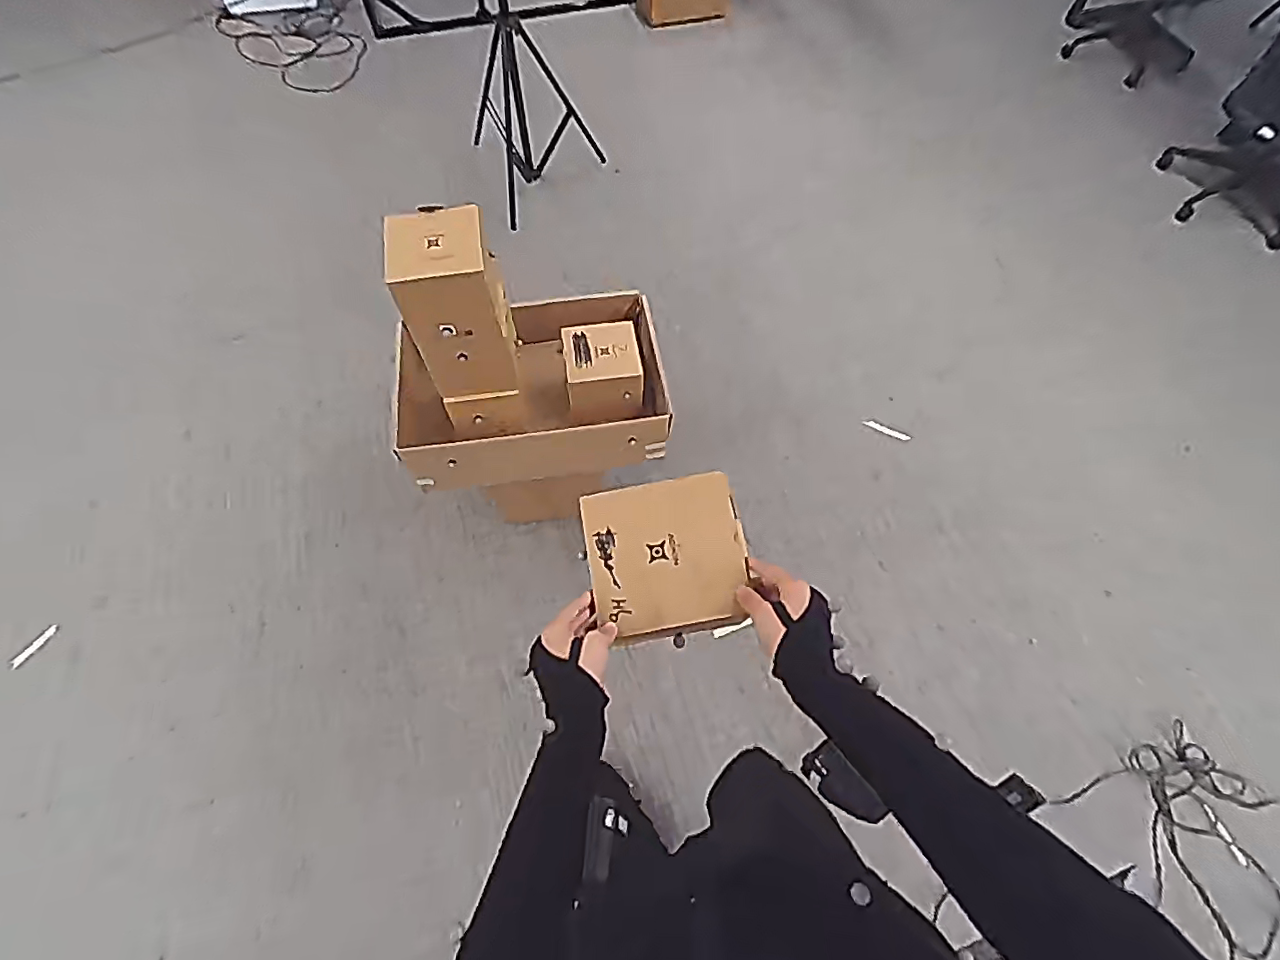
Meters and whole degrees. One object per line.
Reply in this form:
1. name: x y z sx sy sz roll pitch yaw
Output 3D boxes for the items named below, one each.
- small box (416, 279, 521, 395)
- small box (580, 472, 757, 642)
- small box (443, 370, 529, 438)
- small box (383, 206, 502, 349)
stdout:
1. small box: -0.357 -0.297 1.145 0.179 0.176 0.168 -8 63 -7
2. small box: 0.030 0.103 0.671 0.179 0.176 0.168 -9 70 -1
3. small box: -0.365 -0.213 1.287 0.168 0.176 0.179 -9 63 -7
4. small box: -0.358 -0.370 0.998 0.168 0.176 0.179 -10 63 -6
